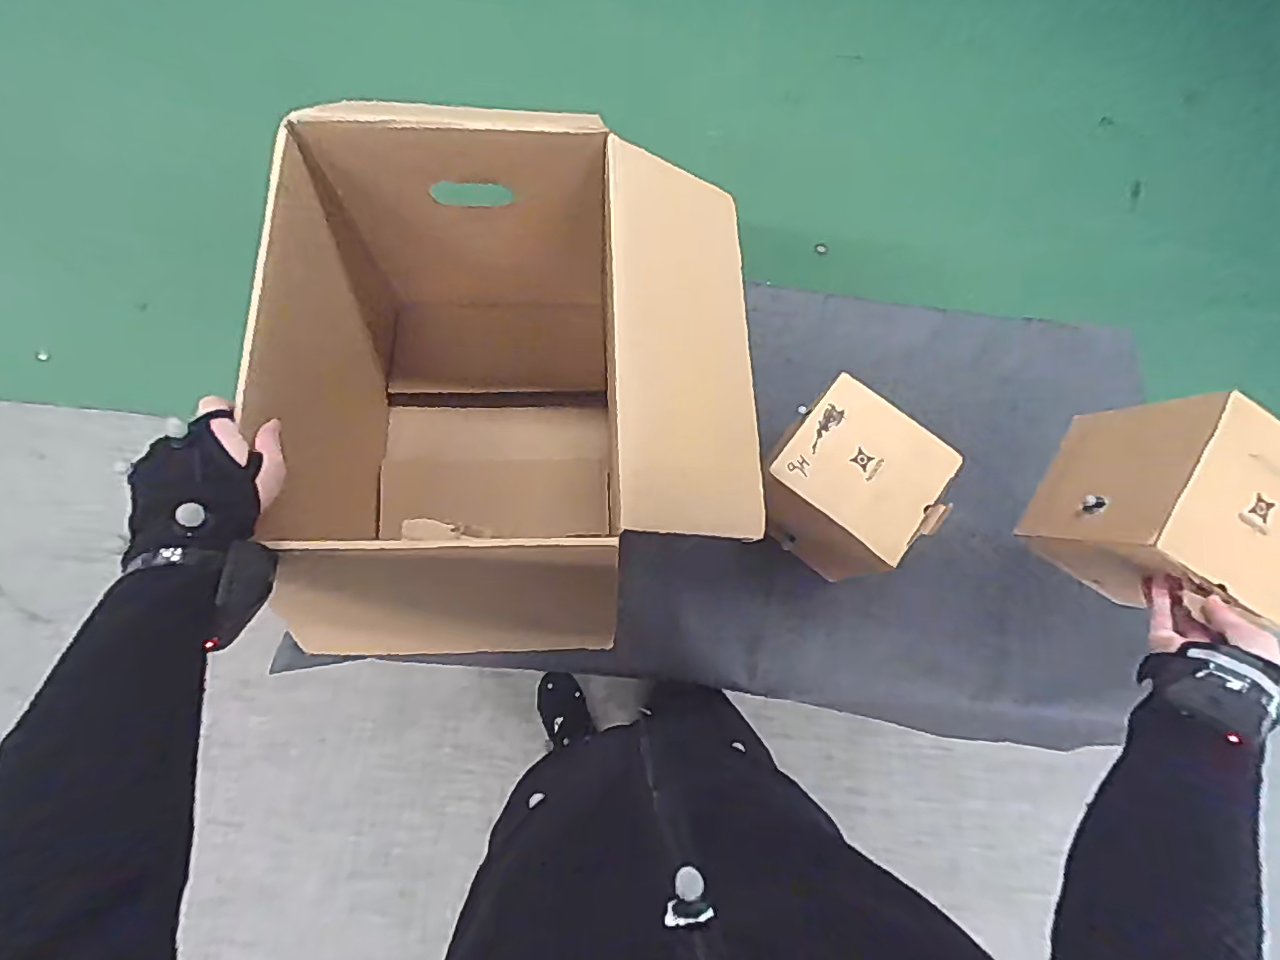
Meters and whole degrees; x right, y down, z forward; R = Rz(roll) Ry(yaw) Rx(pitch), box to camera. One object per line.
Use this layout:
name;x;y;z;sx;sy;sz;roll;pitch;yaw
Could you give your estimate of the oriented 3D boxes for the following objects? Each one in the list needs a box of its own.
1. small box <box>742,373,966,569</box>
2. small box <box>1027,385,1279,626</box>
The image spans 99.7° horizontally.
small box;0.261;0.000;0.702;0.179;0.176;0.168;40;78;6
small box;0.576;0.026;0.589;0.168;0.176;0.179;31;86;-5
